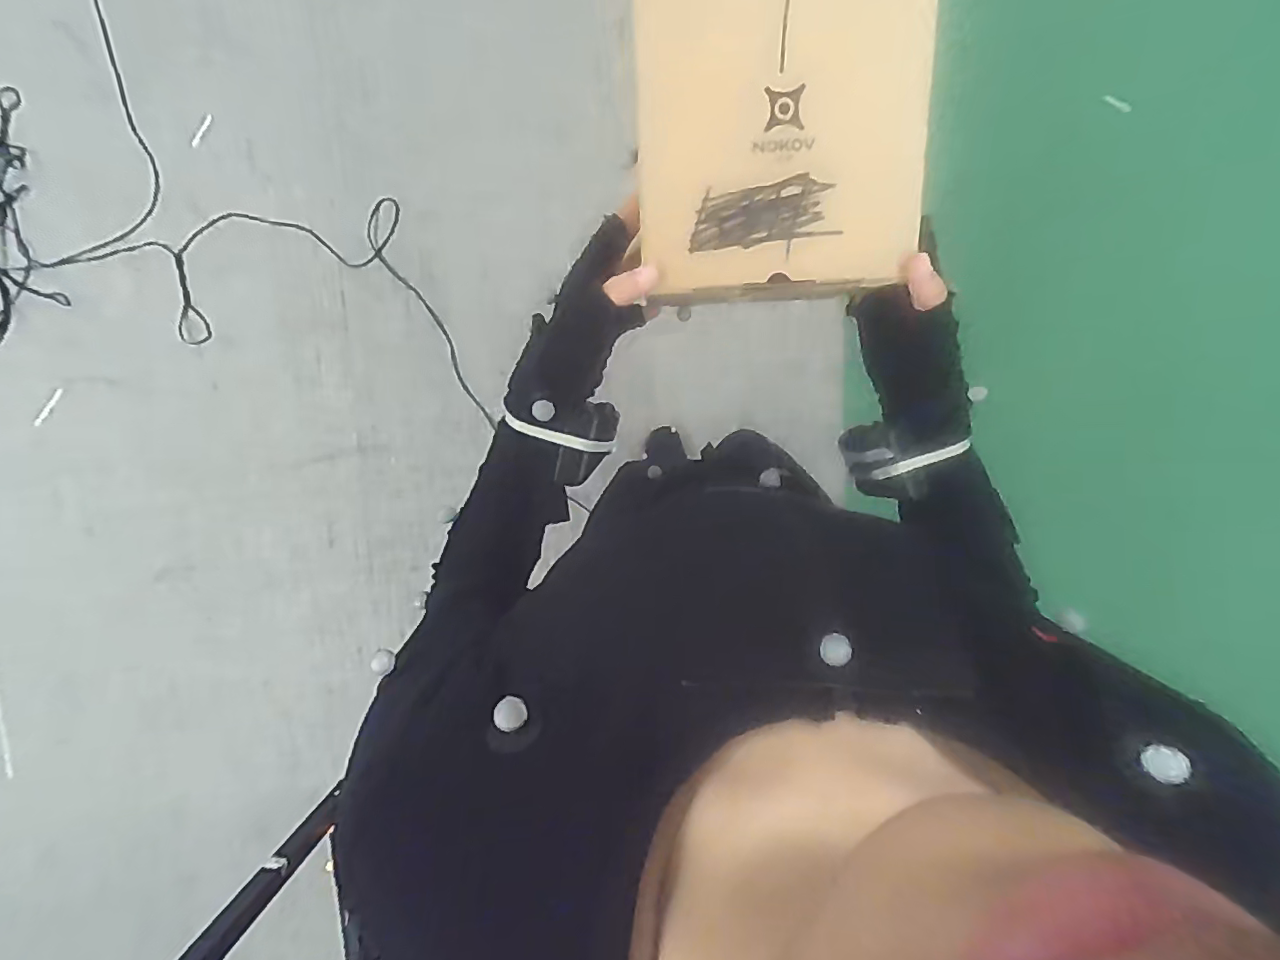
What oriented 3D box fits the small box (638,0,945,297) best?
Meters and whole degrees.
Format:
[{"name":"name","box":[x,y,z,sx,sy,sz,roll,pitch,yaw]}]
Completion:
[{"name":"small box","box":[0.086,-0.226,0.382,0.168,0.176,0.179,-2,104,2]}]
